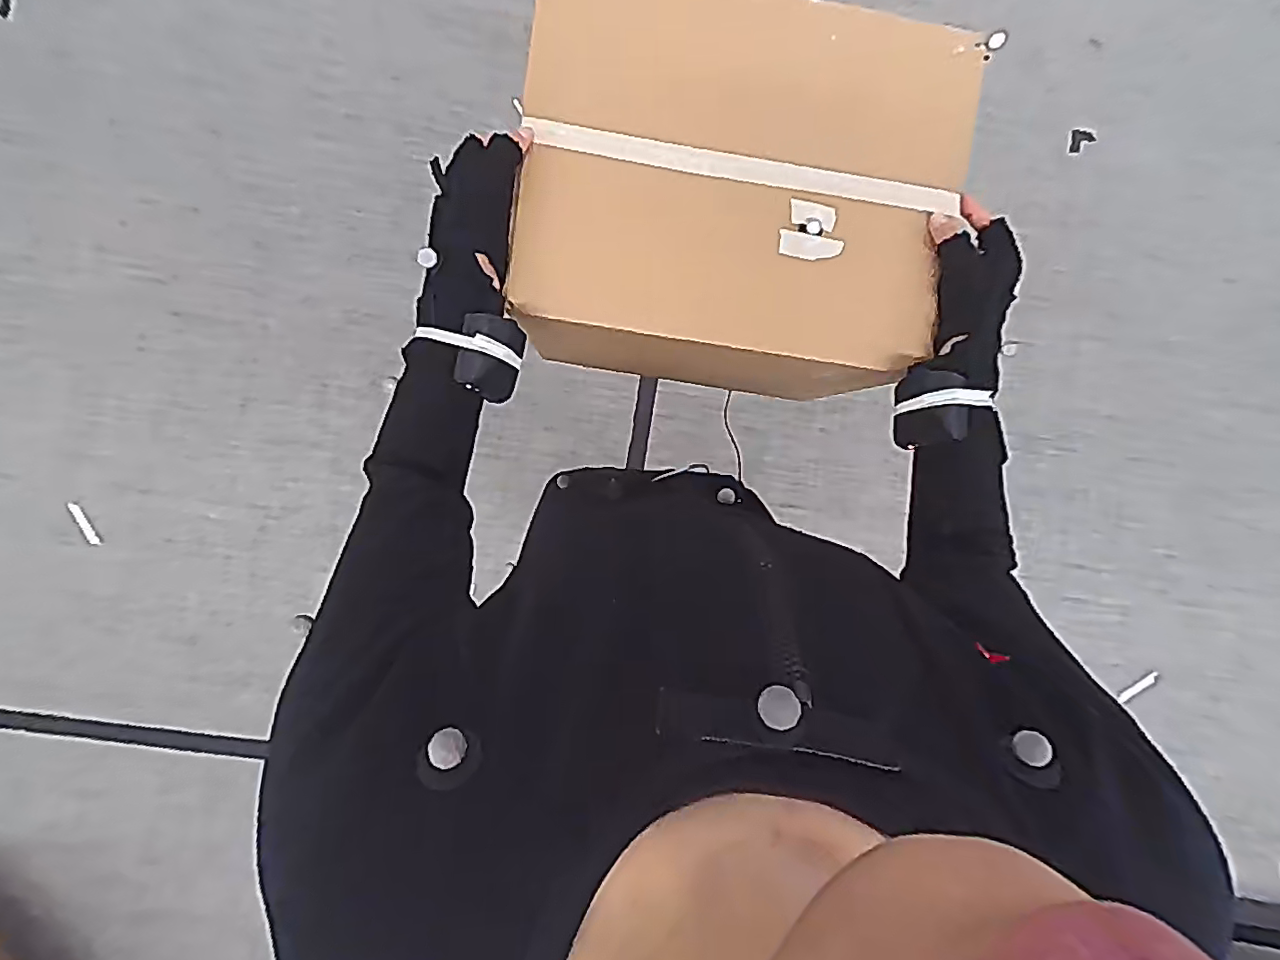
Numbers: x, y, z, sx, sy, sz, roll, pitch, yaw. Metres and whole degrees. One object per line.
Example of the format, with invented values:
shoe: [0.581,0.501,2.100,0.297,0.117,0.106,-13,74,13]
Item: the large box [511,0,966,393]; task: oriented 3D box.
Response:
large box: [0.083,-0.295,0.654,0.408,0.320,0.320,8,95,-5]
